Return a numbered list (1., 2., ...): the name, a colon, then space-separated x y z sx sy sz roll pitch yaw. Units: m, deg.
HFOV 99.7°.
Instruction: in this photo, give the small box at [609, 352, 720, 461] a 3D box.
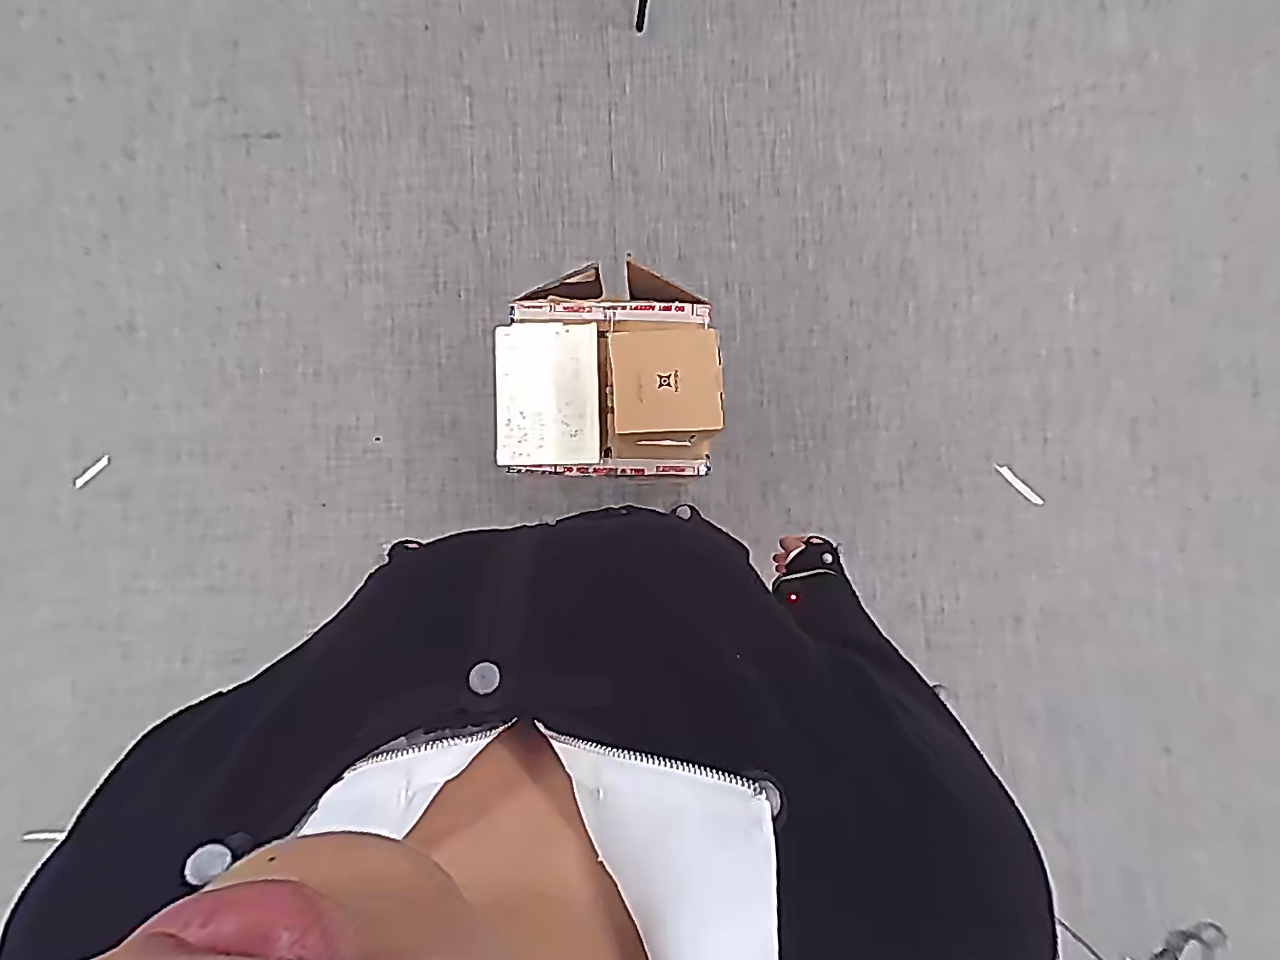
1. small box: 0.039 -0.123 0.958 0.179 0.176 0.168 -3 88 0
